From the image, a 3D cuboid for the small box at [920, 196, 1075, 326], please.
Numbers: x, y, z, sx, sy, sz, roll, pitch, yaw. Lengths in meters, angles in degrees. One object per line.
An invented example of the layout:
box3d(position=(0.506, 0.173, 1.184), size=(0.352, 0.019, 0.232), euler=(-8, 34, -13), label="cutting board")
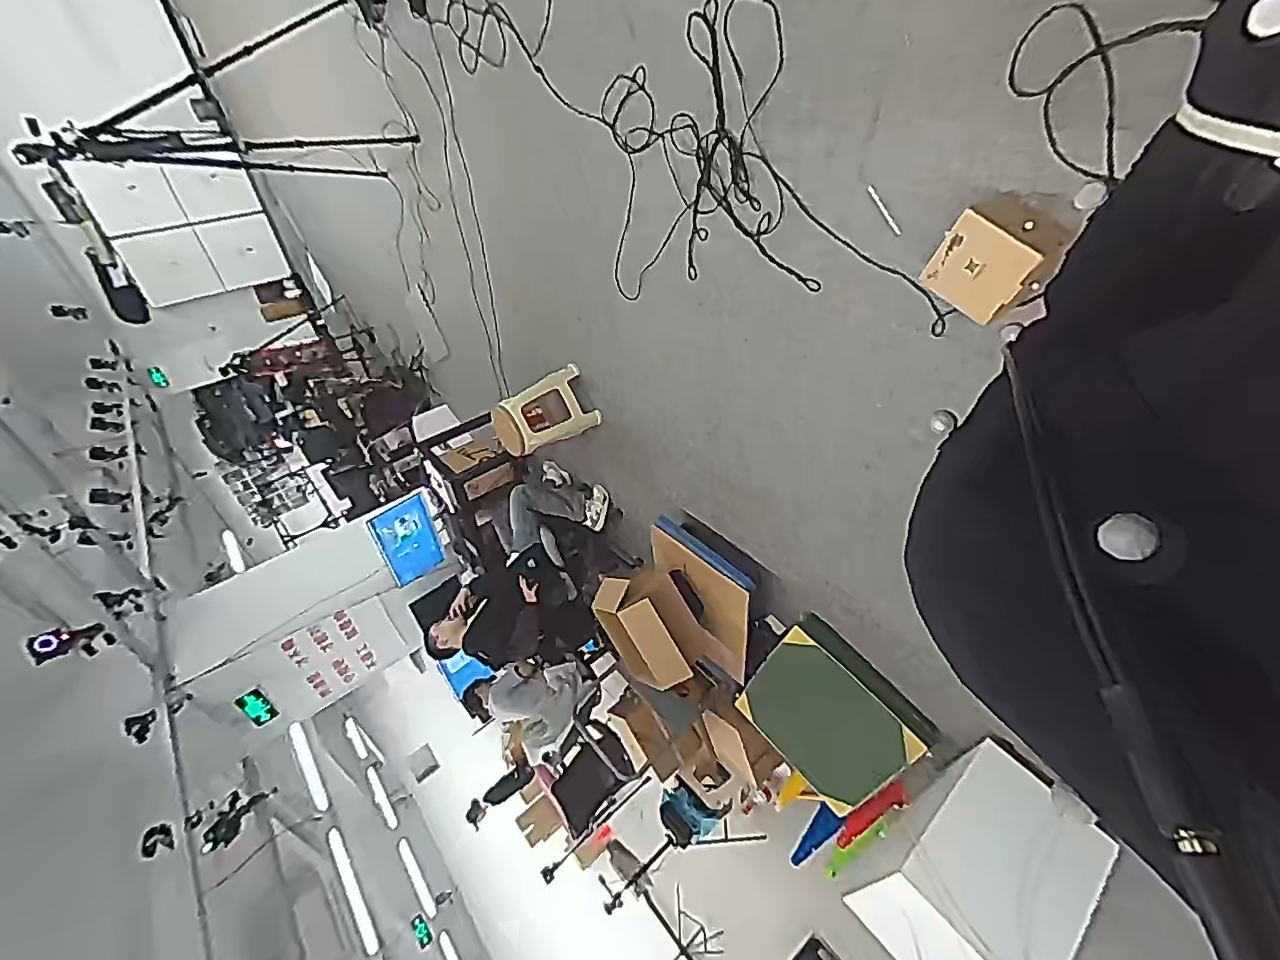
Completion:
box3d(position=(0.735, -0.457, 1.114), size=(0.179, 0.176, 0.168), euler=(49, 150, 21), label="small box")
